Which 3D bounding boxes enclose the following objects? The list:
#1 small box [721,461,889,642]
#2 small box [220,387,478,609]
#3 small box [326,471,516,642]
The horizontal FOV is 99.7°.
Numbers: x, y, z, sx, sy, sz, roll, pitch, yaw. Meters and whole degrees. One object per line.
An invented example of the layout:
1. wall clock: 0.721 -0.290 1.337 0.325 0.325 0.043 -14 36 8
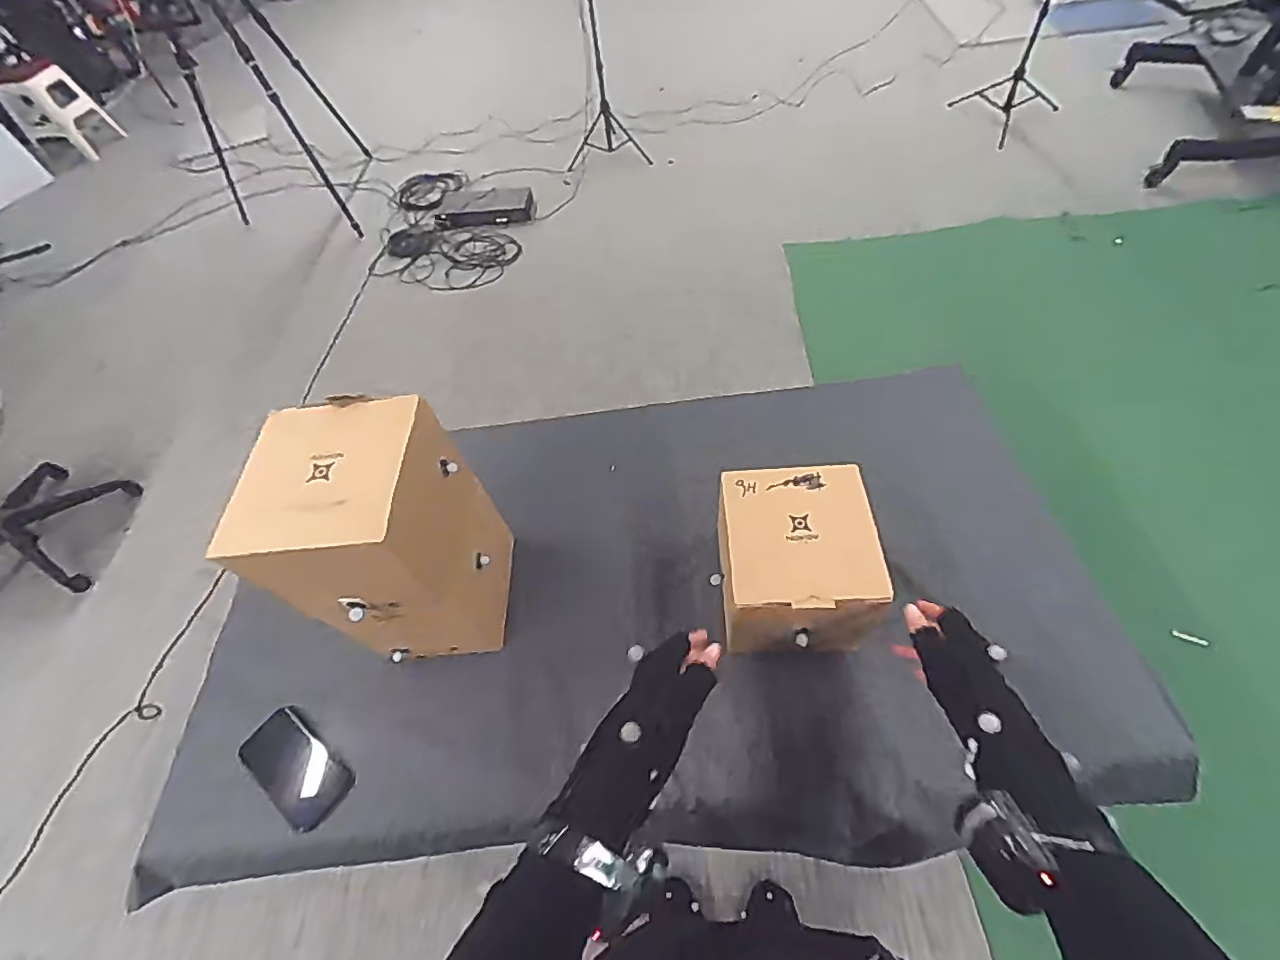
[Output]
1. small box: 0.190 0.098 0.676 0.168 0.176 0.179 -3 56 6
2. small box: -0.289 0.025 0.588 0.168 0.176 0.179 -6 57 4
3. small box: -0.274 0.110 0.725 0.168 0.176 0.179 -4 55 4
